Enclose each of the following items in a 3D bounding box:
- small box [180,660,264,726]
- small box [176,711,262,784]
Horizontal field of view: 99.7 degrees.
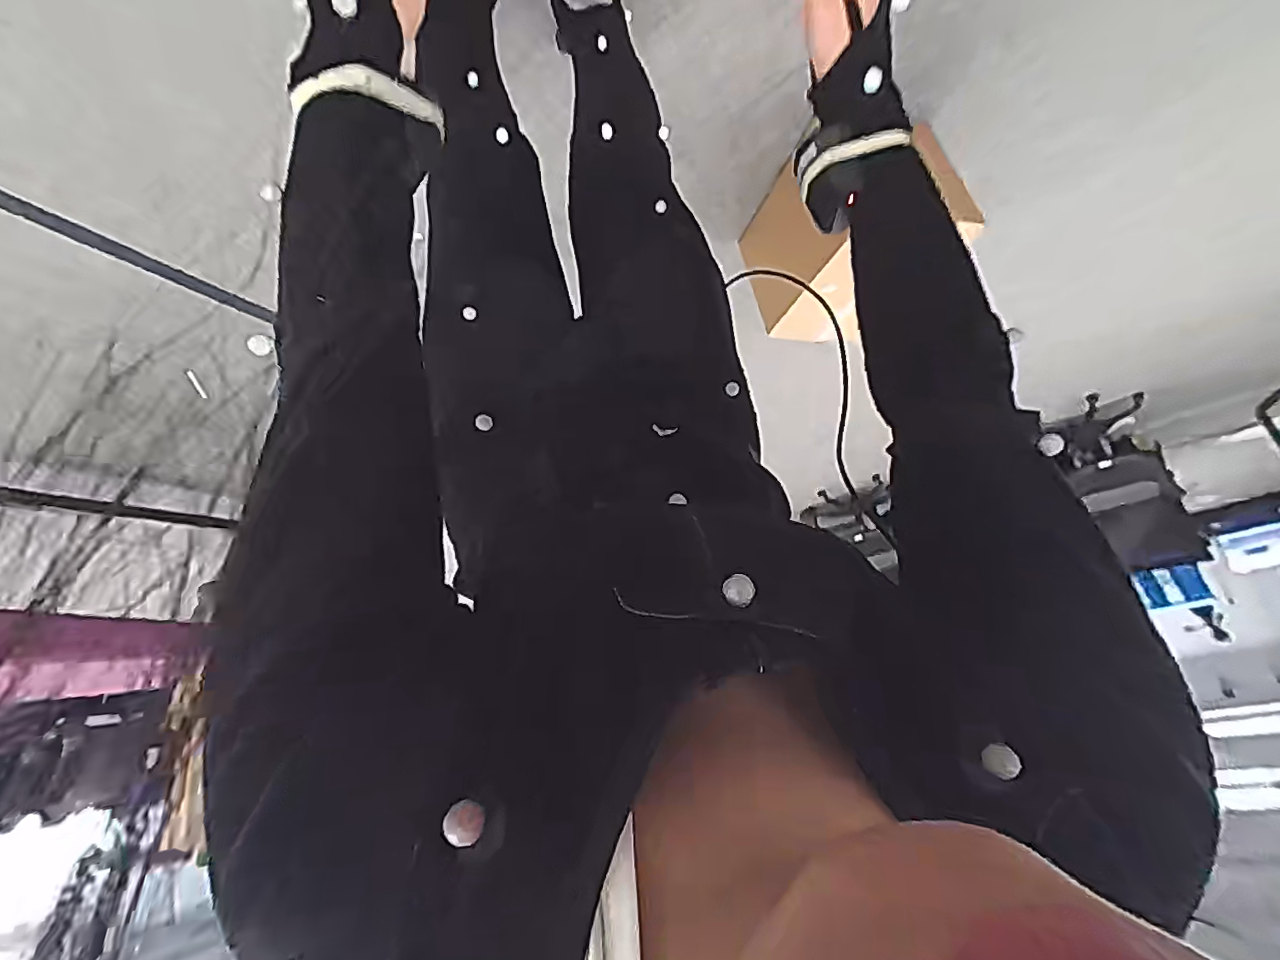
[{"bbox_3d":[-1.341,0.678,1.740,0.179,0.176,0.168,-22,156,27],"label":"small box"},{"bbox_3d":[-1.296,0.820,1.669,0.179,0.176,0.168,-25,155,31],"label":"small box"}]
